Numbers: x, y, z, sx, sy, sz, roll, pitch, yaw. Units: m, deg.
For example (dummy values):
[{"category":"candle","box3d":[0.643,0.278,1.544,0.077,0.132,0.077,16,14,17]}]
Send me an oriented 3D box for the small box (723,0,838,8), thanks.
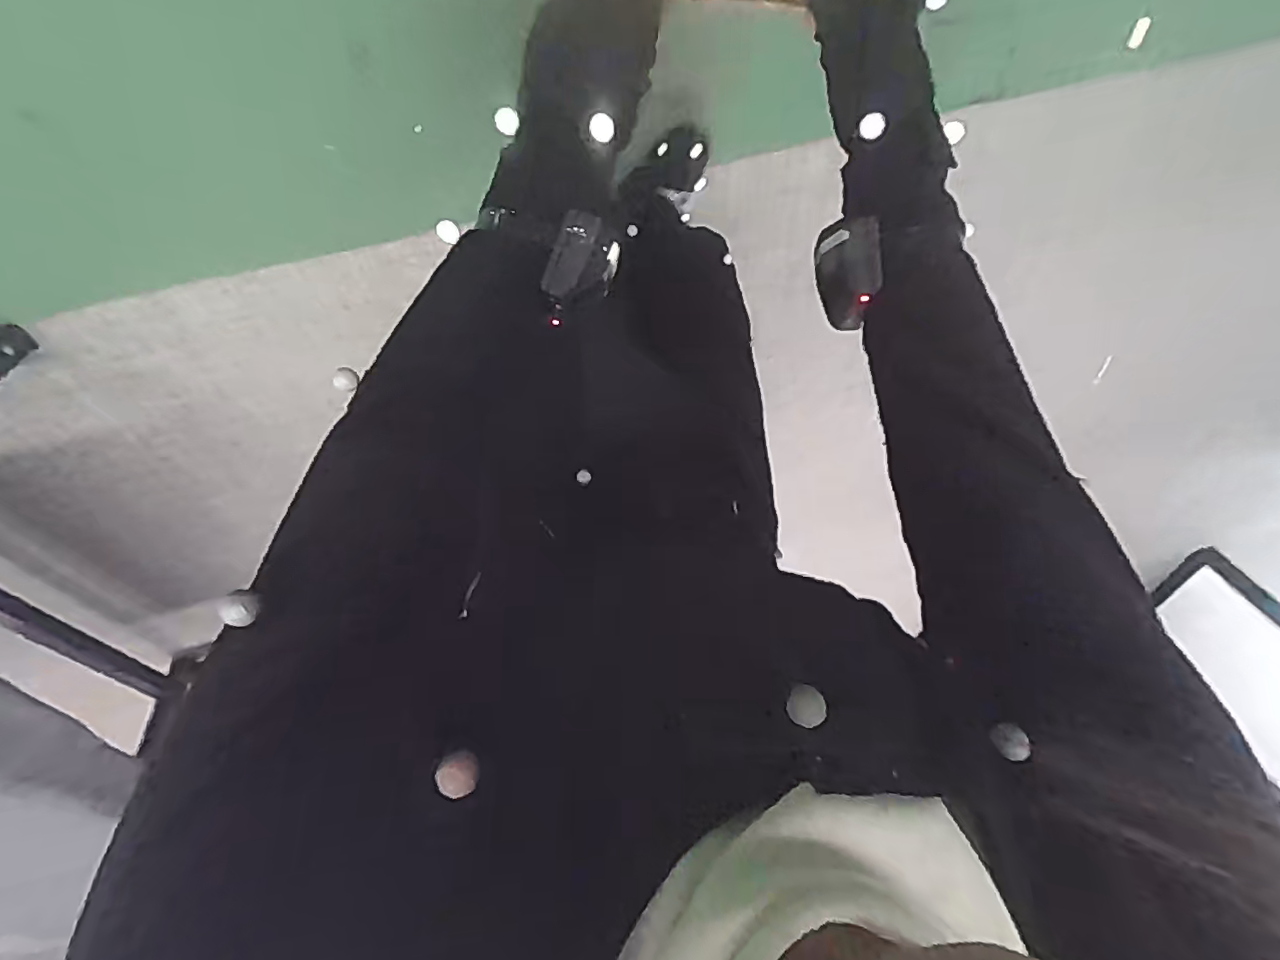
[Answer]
[{"category":"small box","box3d":[0.054,-0.449,0.371,0.168,0.176,0.179,-6,132,-14]}]
